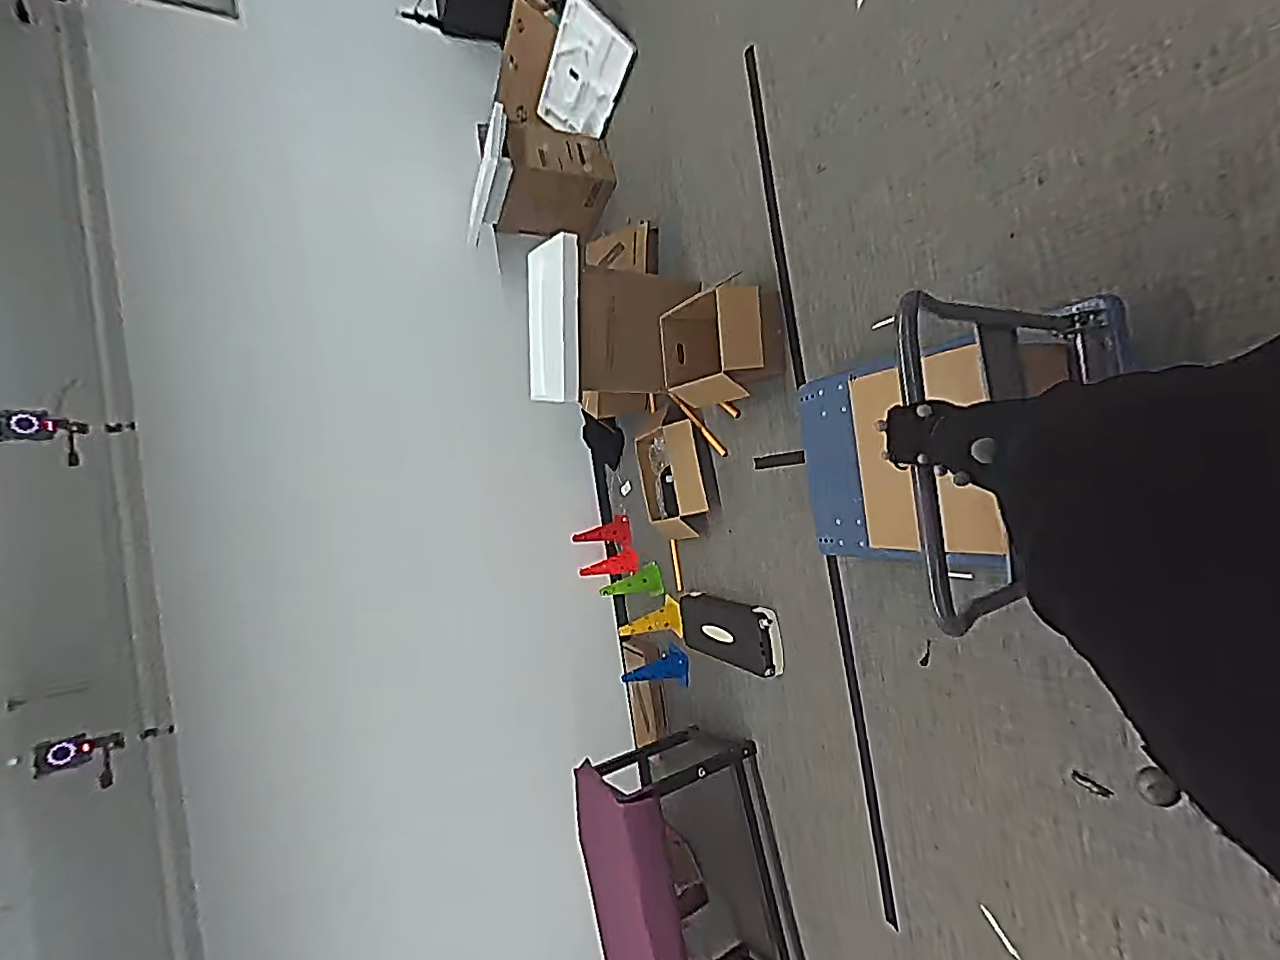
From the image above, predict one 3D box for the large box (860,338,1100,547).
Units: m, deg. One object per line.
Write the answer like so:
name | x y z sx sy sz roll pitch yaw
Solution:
large box | 0.743 -0.074 1.204 0.320 0.320 0.408 -8 88 63
